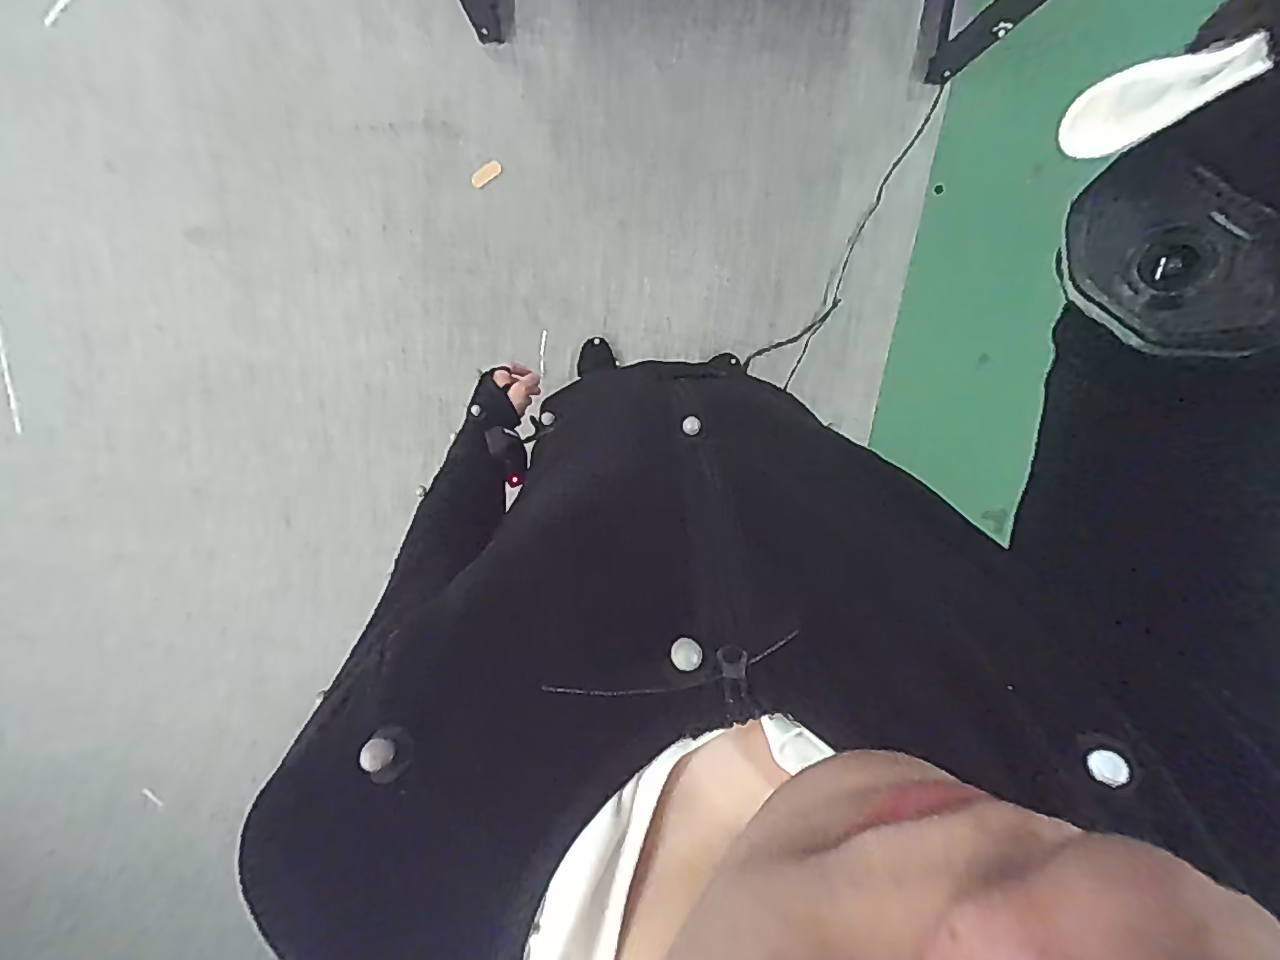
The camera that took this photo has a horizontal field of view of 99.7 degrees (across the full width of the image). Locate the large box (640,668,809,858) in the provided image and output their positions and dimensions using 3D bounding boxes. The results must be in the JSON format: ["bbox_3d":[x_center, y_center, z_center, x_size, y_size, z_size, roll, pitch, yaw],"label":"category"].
[{"bbox_3d":[0.246,0.875,1.706,0.408,0.320,0.320,-27,104,5],"label":"large box"}]
